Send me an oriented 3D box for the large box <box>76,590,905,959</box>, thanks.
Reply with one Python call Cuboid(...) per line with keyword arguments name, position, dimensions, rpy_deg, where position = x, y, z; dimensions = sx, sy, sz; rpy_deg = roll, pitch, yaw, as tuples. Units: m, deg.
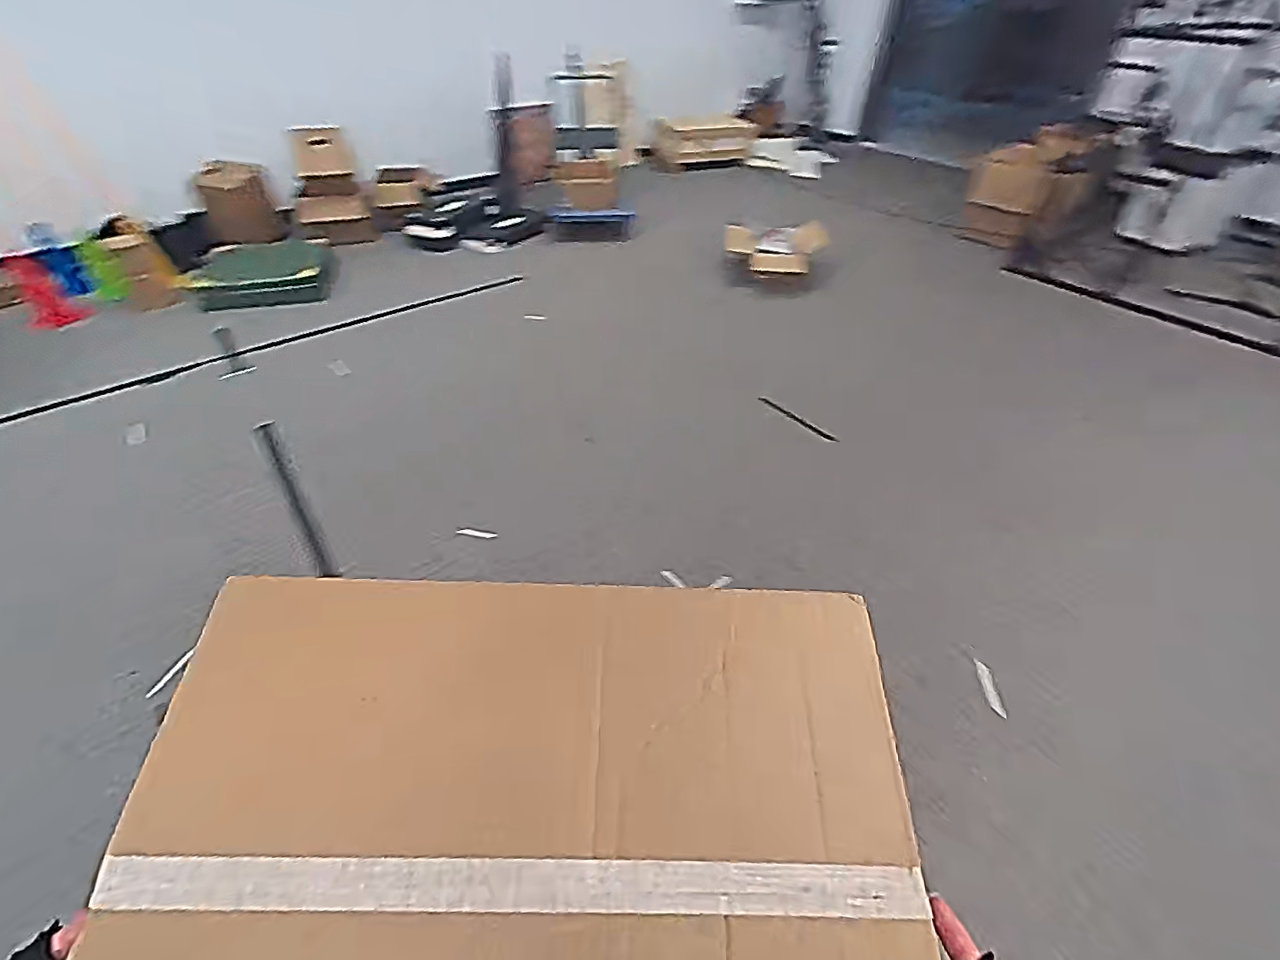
Cuboid(name="large box", position=(-0.074, 0.282, 0.404), dimensions=(0.408, 0.320, 0.320), rpy_deg=(1, 59, -2))
